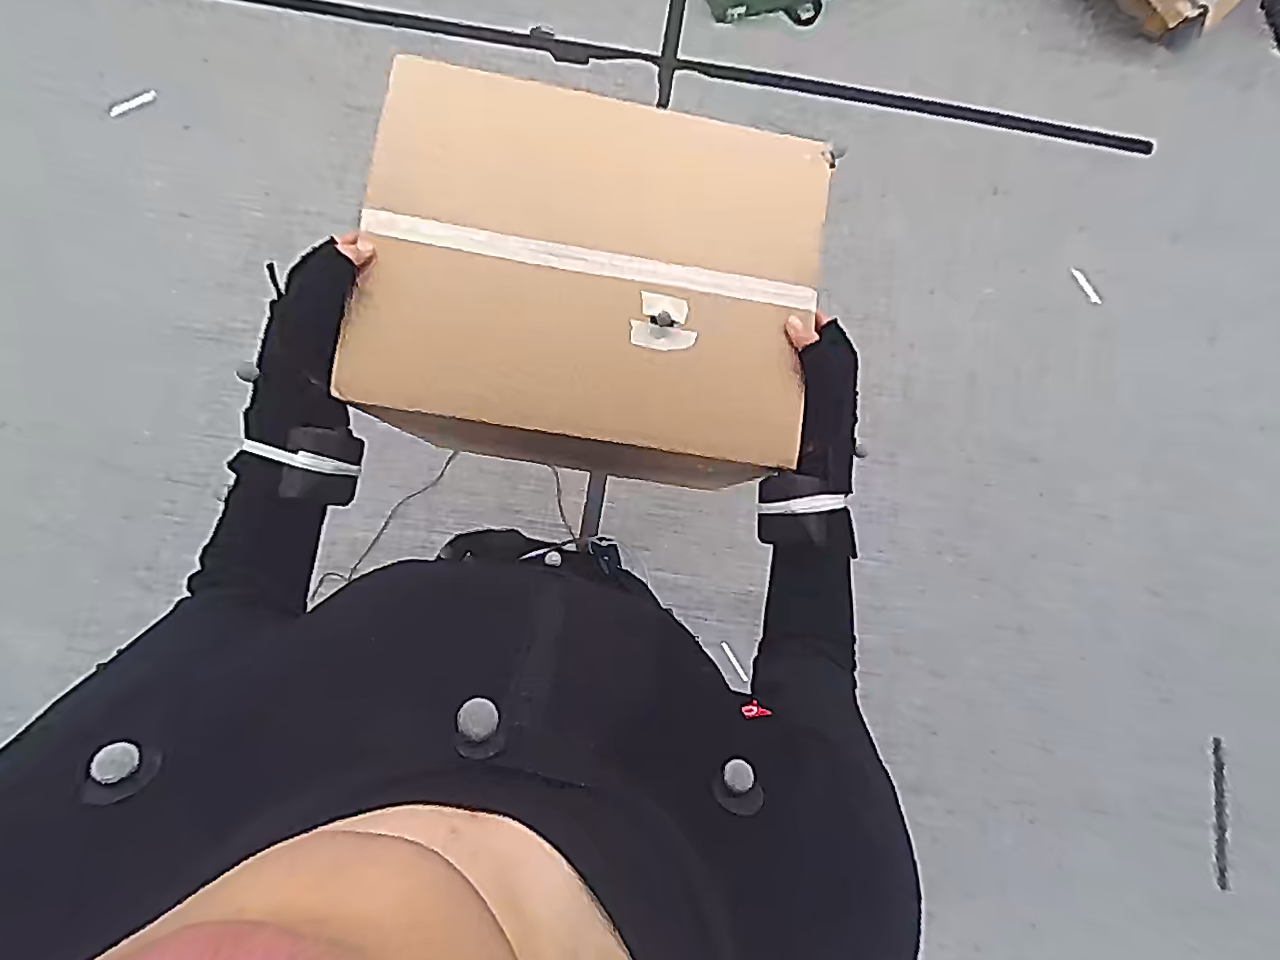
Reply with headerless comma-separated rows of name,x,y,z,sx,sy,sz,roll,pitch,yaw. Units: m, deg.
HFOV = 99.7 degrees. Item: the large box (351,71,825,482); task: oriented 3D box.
large box,-0.051,-0.184,0.640,0.408,0.320,0.320,9,86,-5
